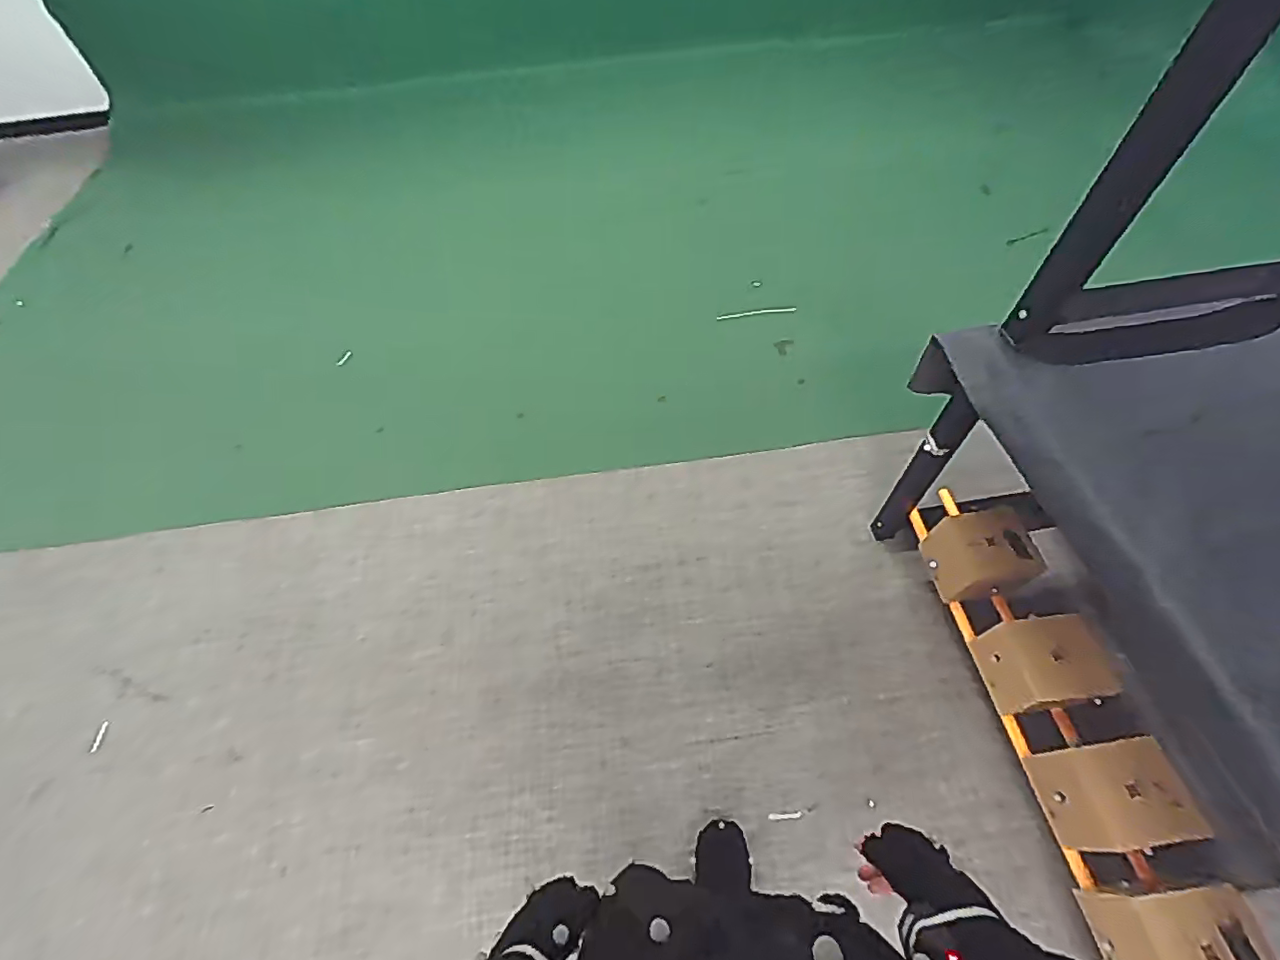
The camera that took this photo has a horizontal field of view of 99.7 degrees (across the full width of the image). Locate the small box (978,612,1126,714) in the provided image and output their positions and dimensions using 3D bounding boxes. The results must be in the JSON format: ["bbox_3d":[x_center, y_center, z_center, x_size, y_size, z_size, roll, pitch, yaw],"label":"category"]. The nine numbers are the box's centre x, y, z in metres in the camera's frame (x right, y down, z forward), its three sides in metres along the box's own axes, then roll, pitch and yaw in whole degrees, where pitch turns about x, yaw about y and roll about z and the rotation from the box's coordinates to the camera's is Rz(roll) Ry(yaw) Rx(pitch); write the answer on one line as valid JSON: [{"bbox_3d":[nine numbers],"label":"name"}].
[{"bbox_3d":[0.876,0.403,1.179,0.179,0.176,0.168,-8,57,0],"label":"small box"}]

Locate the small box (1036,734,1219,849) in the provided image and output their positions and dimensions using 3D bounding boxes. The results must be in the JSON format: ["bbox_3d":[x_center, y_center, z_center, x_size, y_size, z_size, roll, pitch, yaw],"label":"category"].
[{"bbox_3d":[0.913,0.604,1.043,0.179,0.176,0.168,-9,57,-1],"label":"small box"}]
